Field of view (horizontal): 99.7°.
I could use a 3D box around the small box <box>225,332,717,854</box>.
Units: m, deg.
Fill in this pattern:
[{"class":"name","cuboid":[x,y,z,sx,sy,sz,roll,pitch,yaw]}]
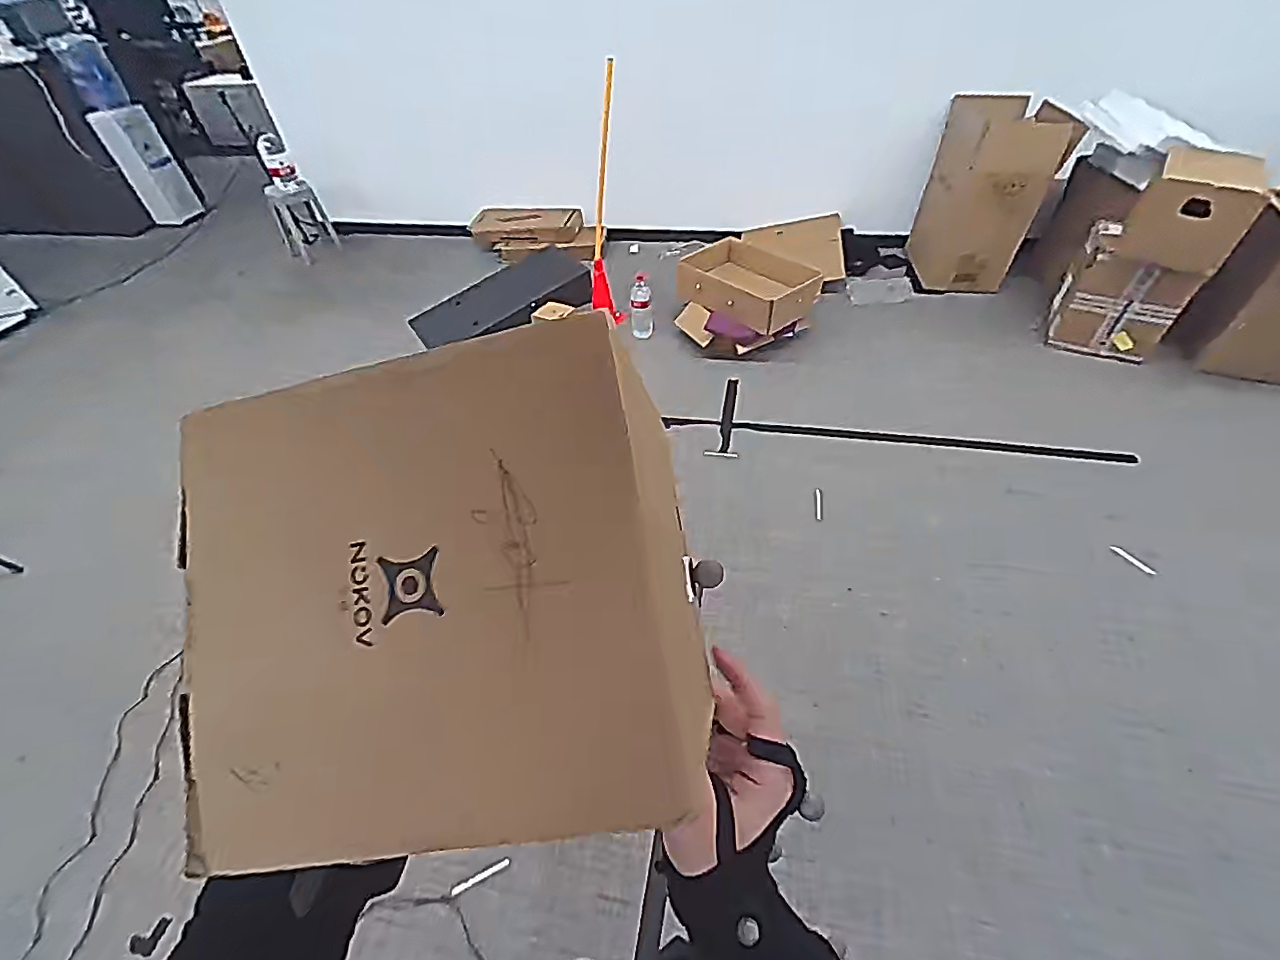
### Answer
[{"class":"small box","cuboid":[-0.063,0.054,0.277,0.179,0.176,0.168,-13,78,7]}]
